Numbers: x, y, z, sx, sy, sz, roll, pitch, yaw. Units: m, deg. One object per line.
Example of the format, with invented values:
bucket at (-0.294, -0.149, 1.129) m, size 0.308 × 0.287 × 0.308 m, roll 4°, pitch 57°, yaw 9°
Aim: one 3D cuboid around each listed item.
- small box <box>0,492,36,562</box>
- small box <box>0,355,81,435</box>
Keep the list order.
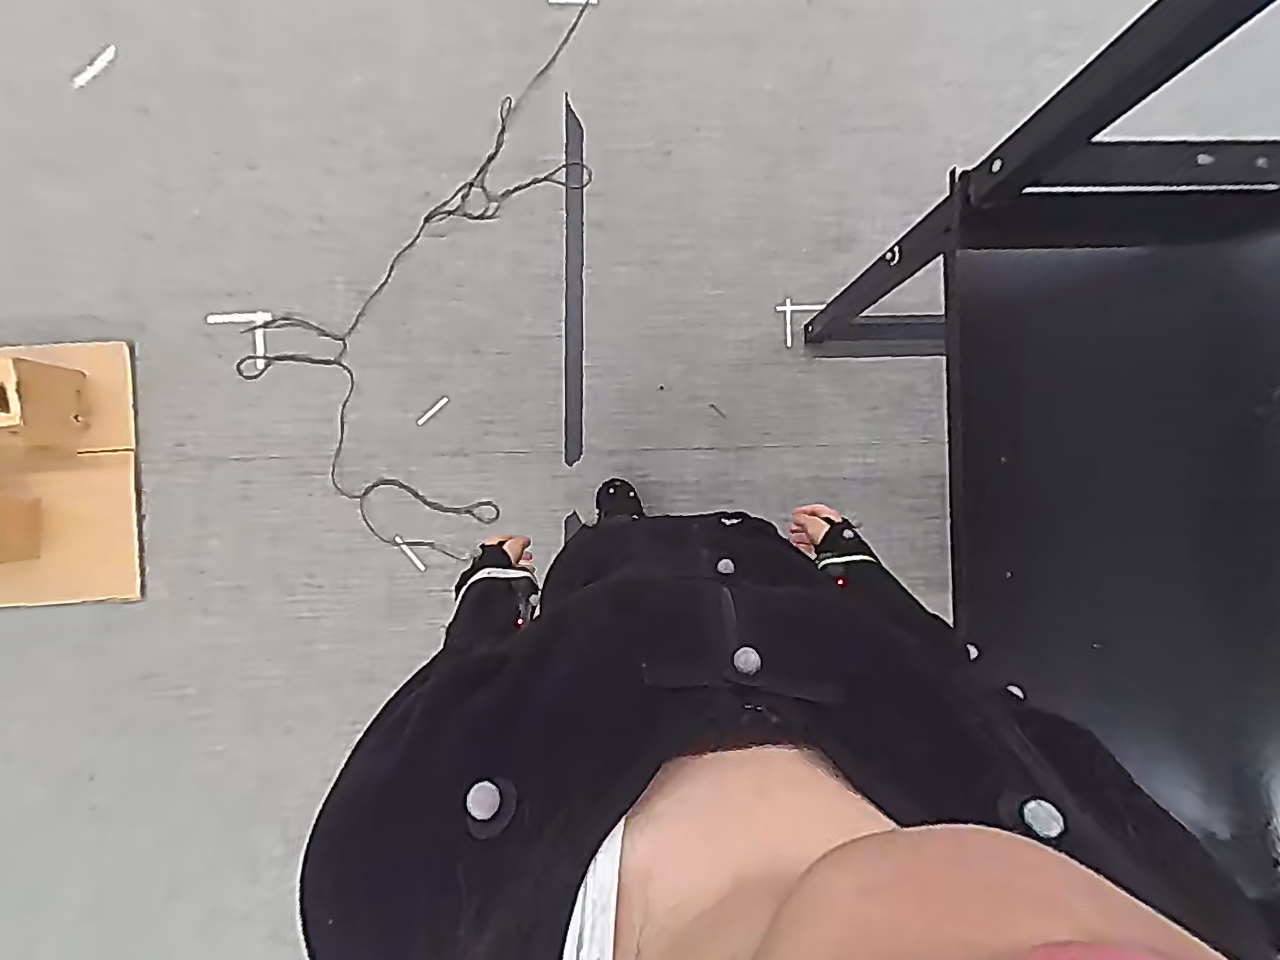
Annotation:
small box at (-1.678, 0.117, 1.350) m, size 0.168 × 0.176 × 0.179 m, roll 1°, pitch 91°, yaw -2°
small box at (-1.567, -0.208, 1.357) m, size 0.179 × 0.176 × 0.168 m, roll -7°, pitch 90°, yaw -2°
